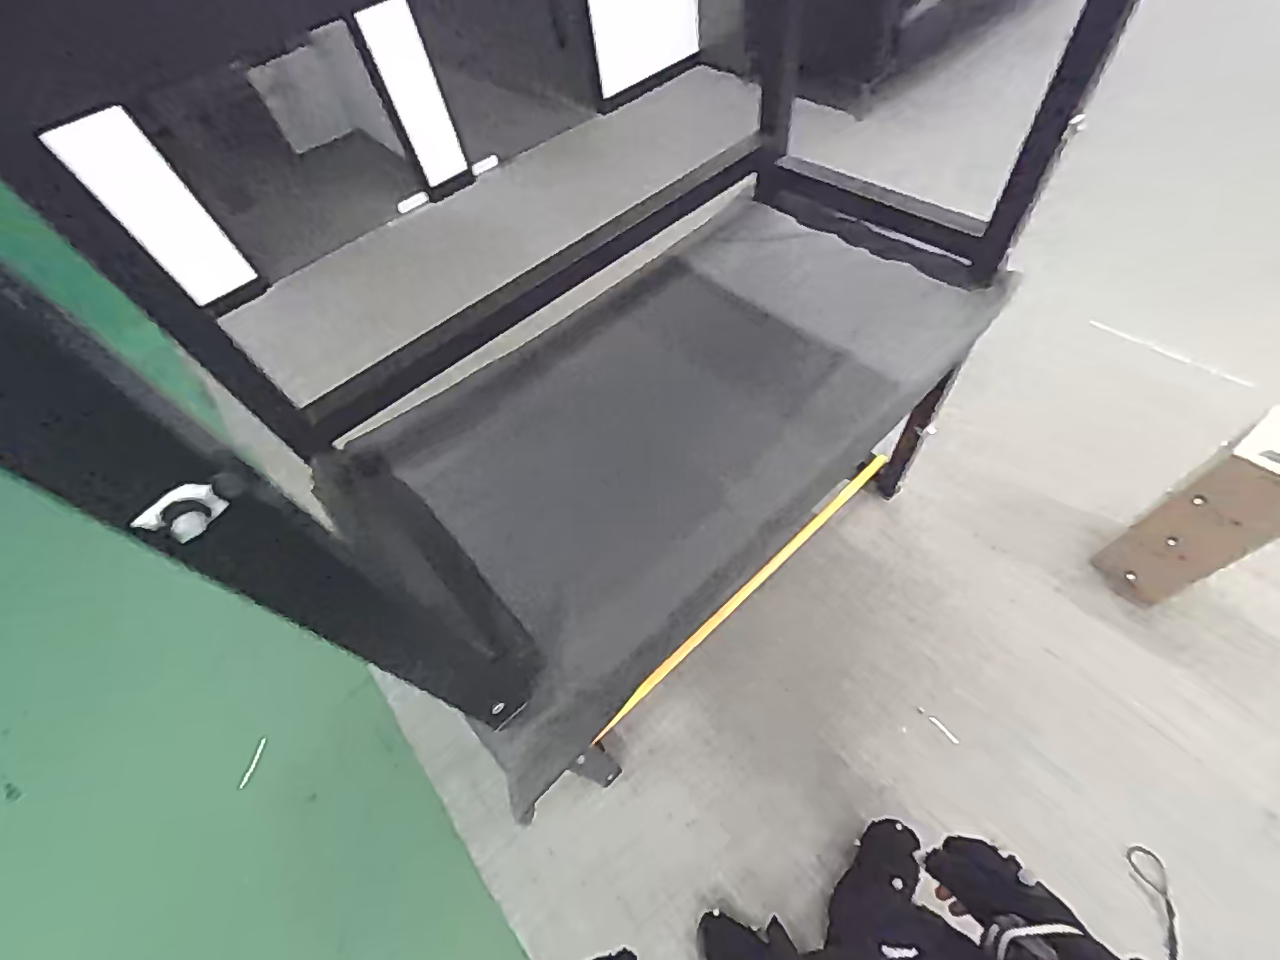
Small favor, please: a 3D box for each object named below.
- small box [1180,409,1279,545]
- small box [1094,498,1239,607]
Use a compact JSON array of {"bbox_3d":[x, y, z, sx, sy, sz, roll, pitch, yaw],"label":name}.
[{"bbox_3d":[1.258,-0.001,1.086,0.179,0.176,0.168,-36,59,-16],"label":"small box"},{"bbox_3d":[1.301,0.183,1.353,0.179,0.176,0.168,-34,57,-14],"label":"small box"}]
